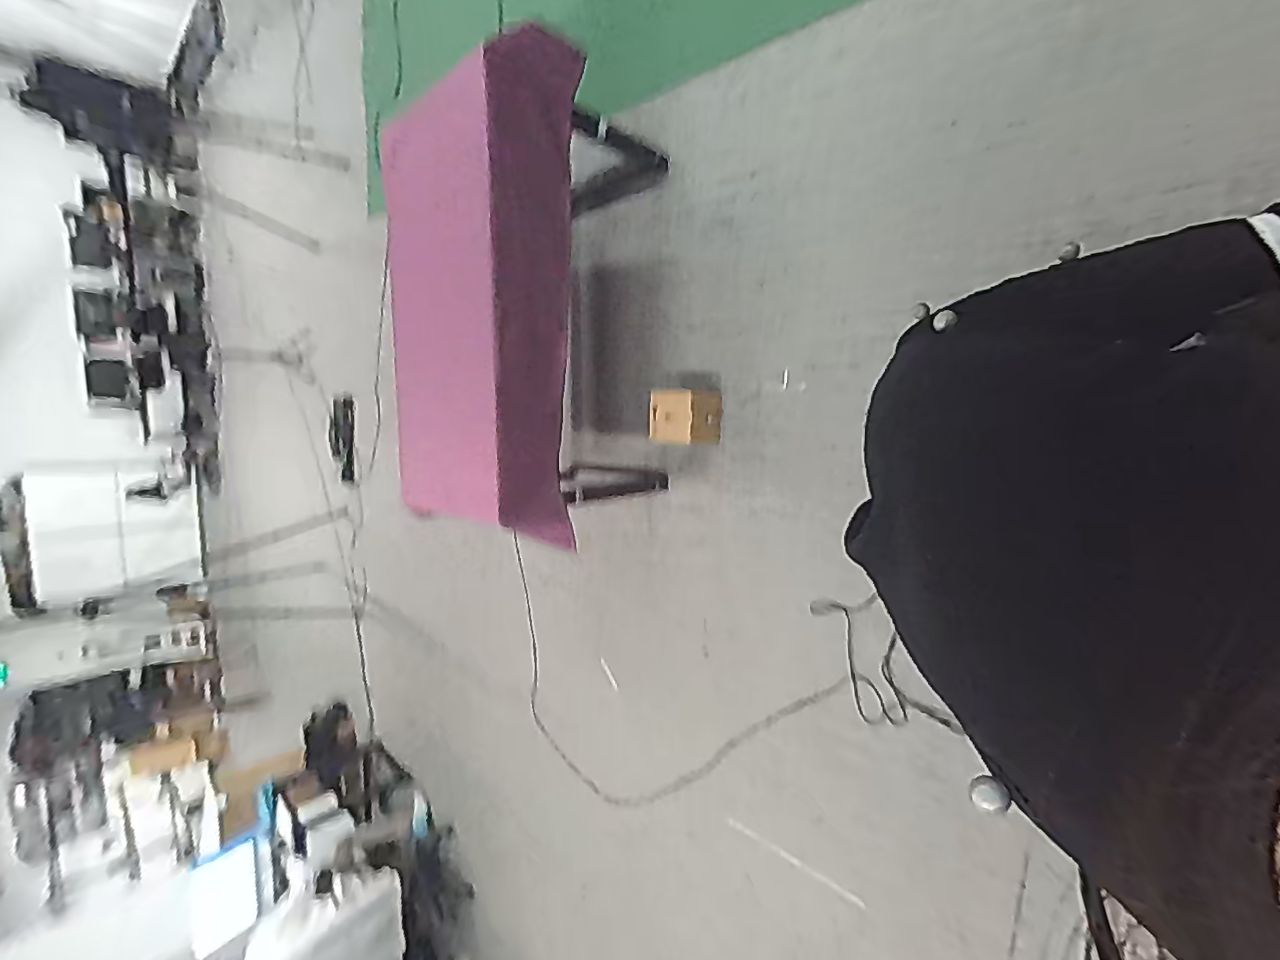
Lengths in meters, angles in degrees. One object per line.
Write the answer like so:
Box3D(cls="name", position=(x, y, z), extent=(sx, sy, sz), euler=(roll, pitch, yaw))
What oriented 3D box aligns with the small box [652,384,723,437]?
Box3D(cls="small box", position=(0.163, -0.236, 1.823), extent=(0.179, 0.176, 0.168), euler=(10, 101, 41))
